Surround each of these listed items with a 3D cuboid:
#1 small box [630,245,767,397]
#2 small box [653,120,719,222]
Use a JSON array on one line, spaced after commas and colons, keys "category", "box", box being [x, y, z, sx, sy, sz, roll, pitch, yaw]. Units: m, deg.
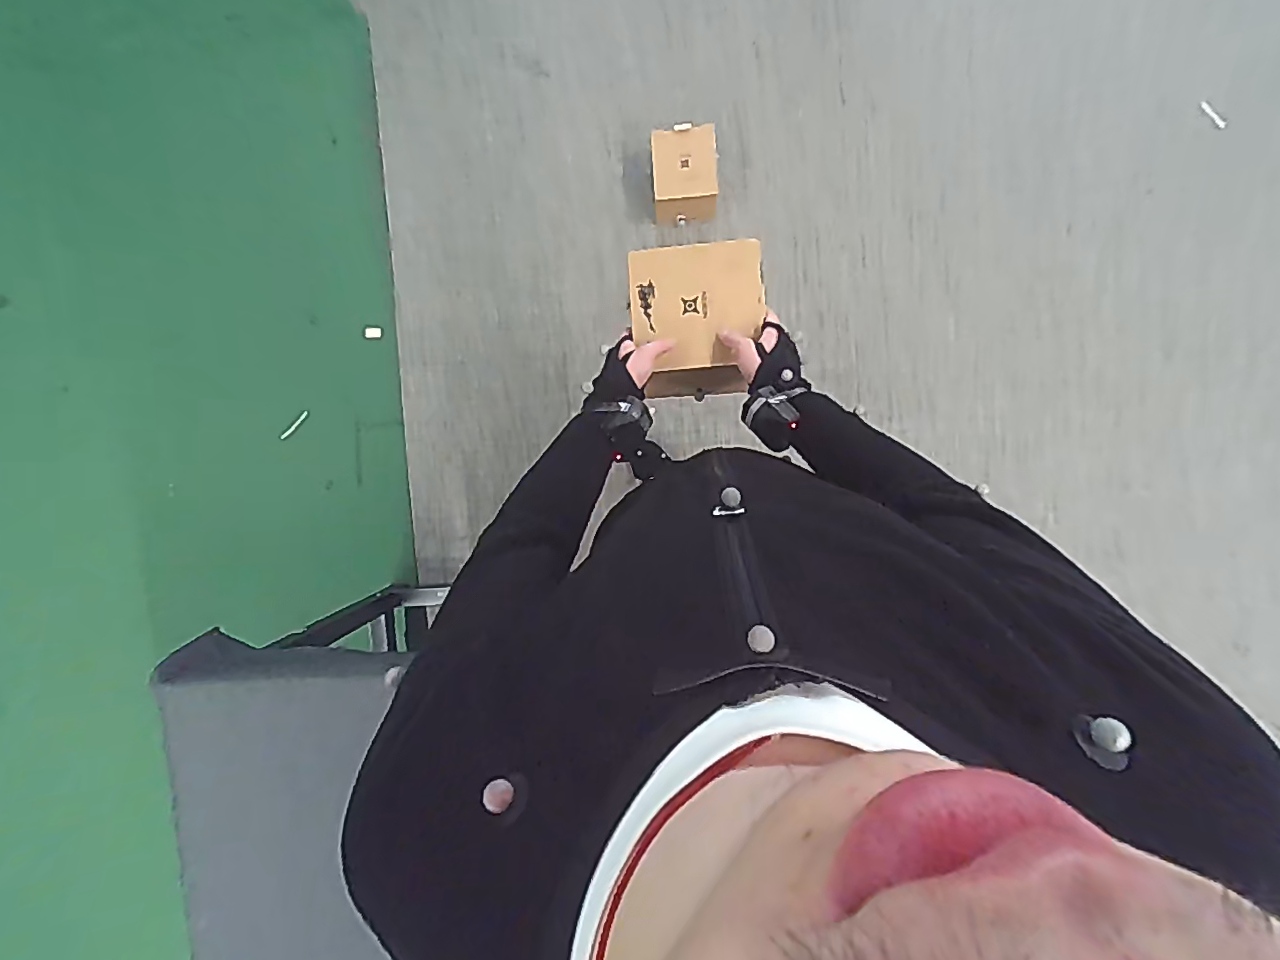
[{"category": "small box", "box": [0.078, -0.220, 0.786, 0.179, 0.176, 0.168, -3, 87, 2]}, {"category": "small box", "box": [0.122, -0.812, 1.434, 0.168, 0.176, 0.179, -1, 93, 6]}]
